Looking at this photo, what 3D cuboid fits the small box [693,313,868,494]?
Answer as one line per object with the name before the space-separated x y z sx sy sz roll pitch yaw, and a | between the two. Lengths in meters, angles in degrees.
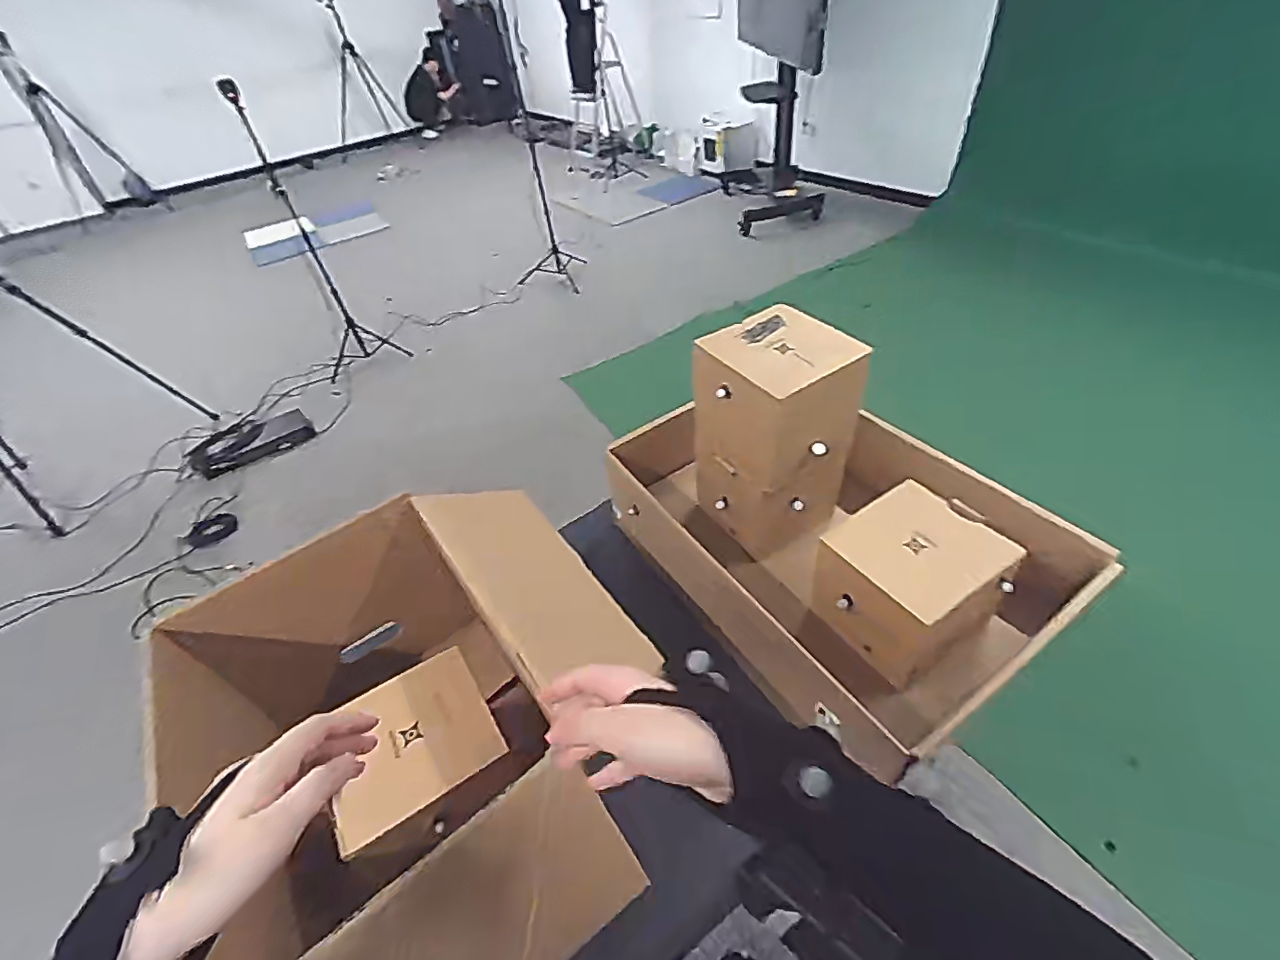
small box | 0.191 -0.112 0.785 0.168 0.176 0.179 -28 48 -19
